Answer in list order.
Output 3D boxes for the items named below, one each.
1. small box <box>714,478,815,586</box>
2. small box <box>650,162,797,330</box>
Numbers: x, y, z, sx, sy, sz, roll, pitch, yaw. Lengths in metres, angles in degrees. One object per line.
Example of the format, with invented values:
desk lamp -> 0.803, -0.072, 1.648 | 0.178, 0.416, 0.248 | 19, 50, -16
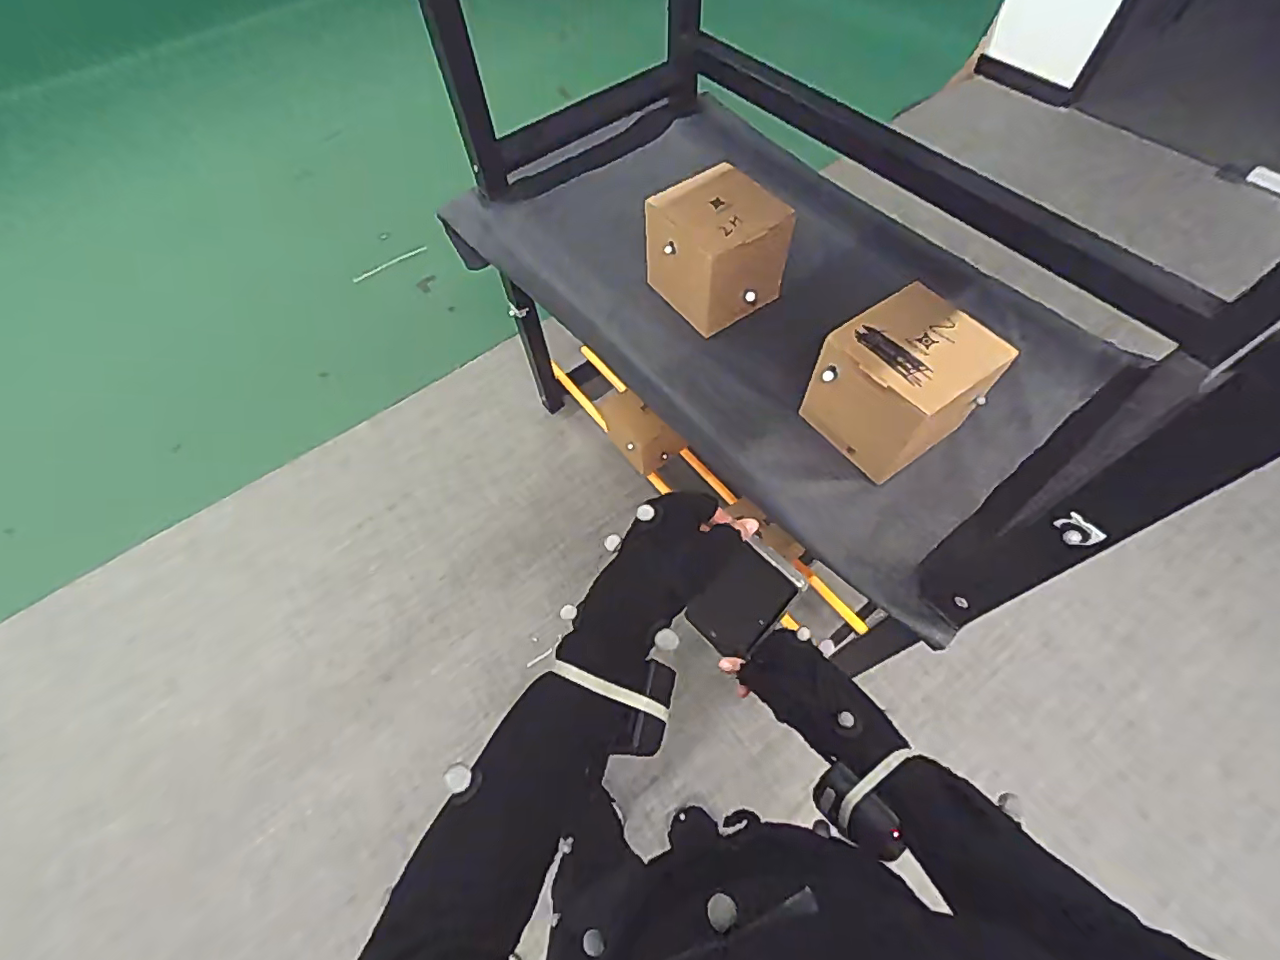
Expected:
small box -> 0.296, 0.133, 1.328 | 0.179, 0.176, 0.168 | -32, 65, -14
small box -> 0.130, -0.389, 0.912 | 0.168, 0.176, 0.179 | -32, 65, -14
